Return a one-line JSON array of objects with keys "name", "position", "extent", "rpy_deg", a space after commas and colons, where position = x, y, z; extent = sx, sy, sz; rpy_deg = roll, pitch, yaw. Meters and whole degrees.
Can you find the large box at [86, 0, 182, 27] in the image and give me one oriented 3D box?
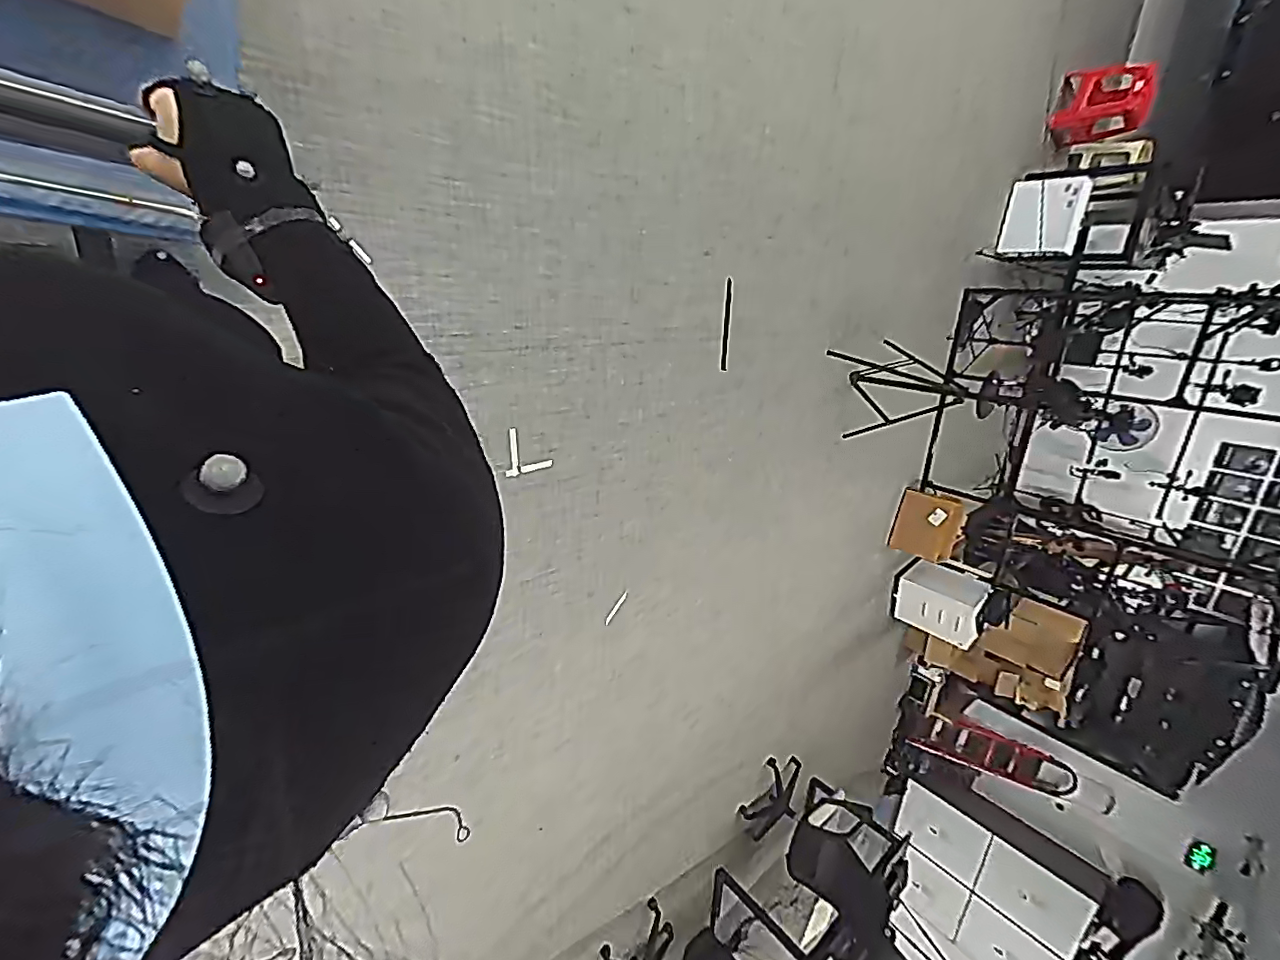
[{"name": "large box", "position": [-0.800, -0.825, 0.619], "extent": [0.408, 0.320, 0.320], "rpy_deg": [-5, 109, -41]}]
